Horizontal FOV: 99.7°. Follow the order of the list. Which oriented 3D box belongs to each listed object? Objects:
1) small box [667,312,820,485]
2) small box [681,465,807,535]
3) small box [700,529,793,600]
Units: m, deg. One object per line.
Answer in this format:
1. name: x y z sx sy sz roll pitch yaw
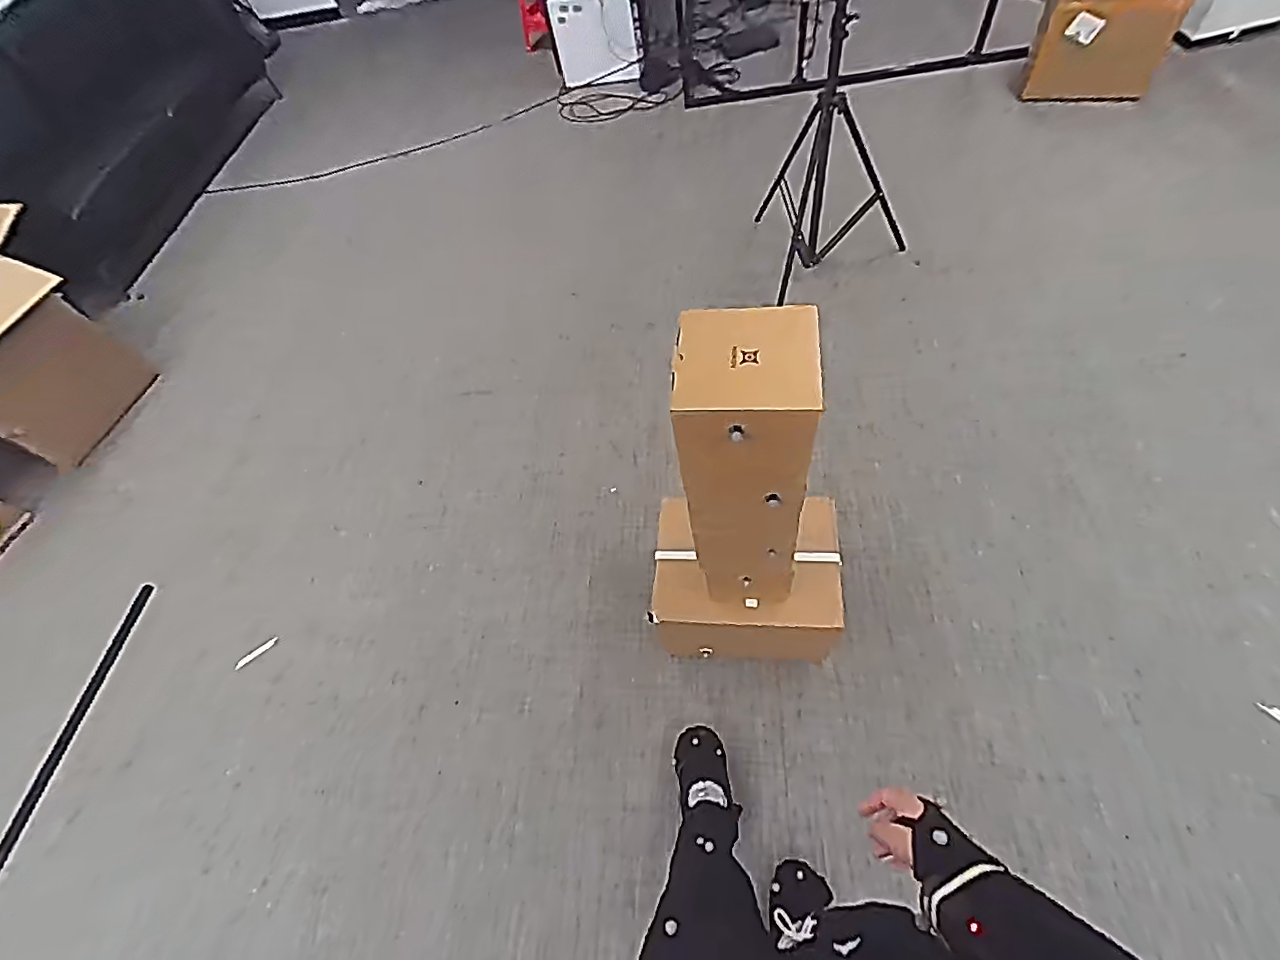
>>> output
1. small box: 0.139 -0.103 0.728 0.179 0.176 0.168 1 60 12
2. small box: 0.165 -0.020 0.864 0.179 0.176 0.168 1 59 11
3. small box: 0.221 0.150 1.141 0.179 0.176 0.168 -2 60 9
